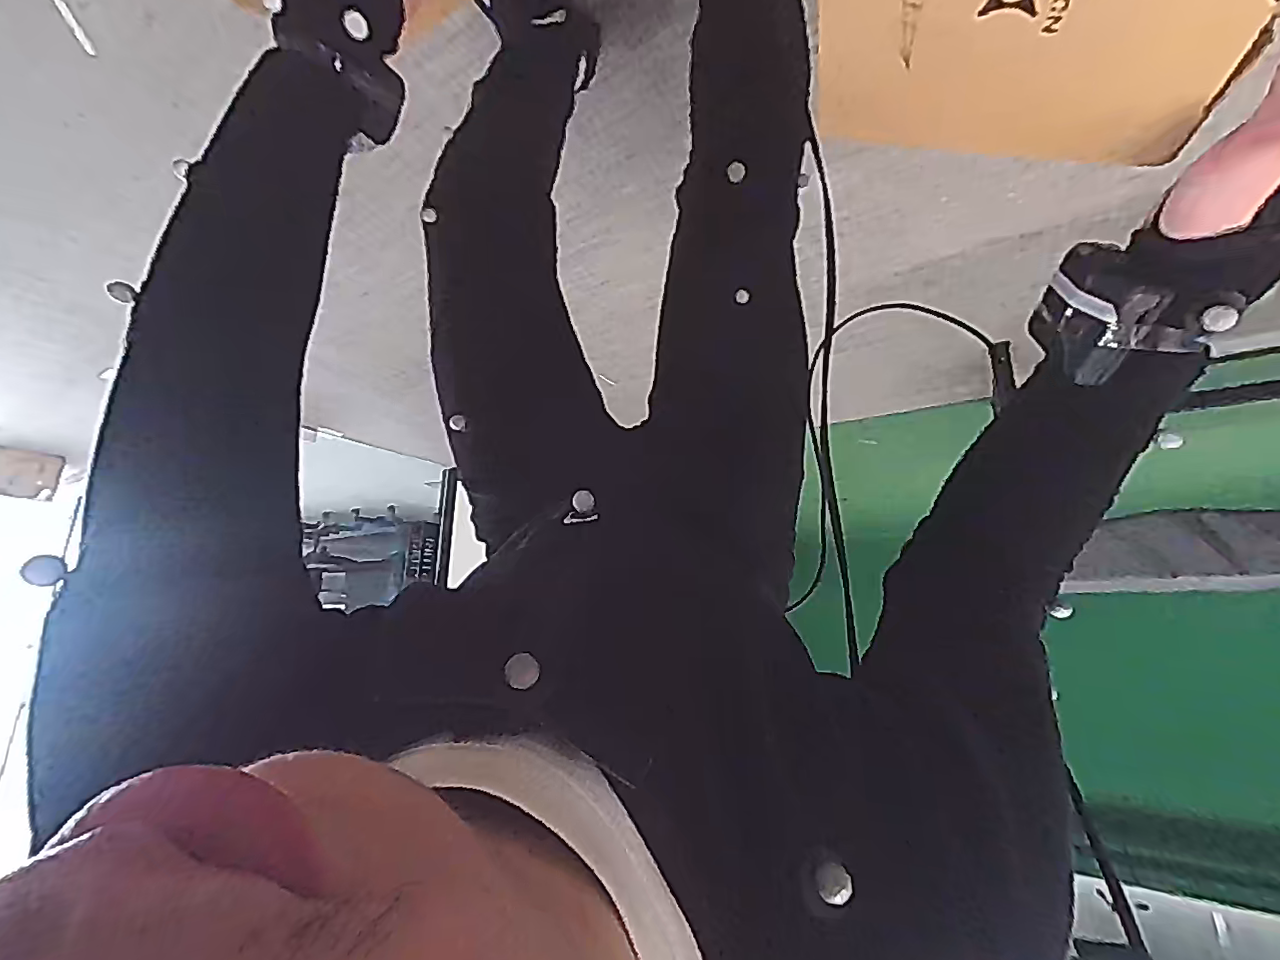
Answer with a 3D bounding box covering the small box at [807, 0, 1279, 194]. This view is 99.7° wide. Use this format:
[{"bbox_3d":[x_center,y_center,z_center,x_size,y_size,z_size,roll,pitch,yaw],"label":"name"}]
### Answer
[{"bbox_3d":[0.188,-0.265,0.233,0.179,0.176,0.168,22,171,20],"label":"small box"}]
